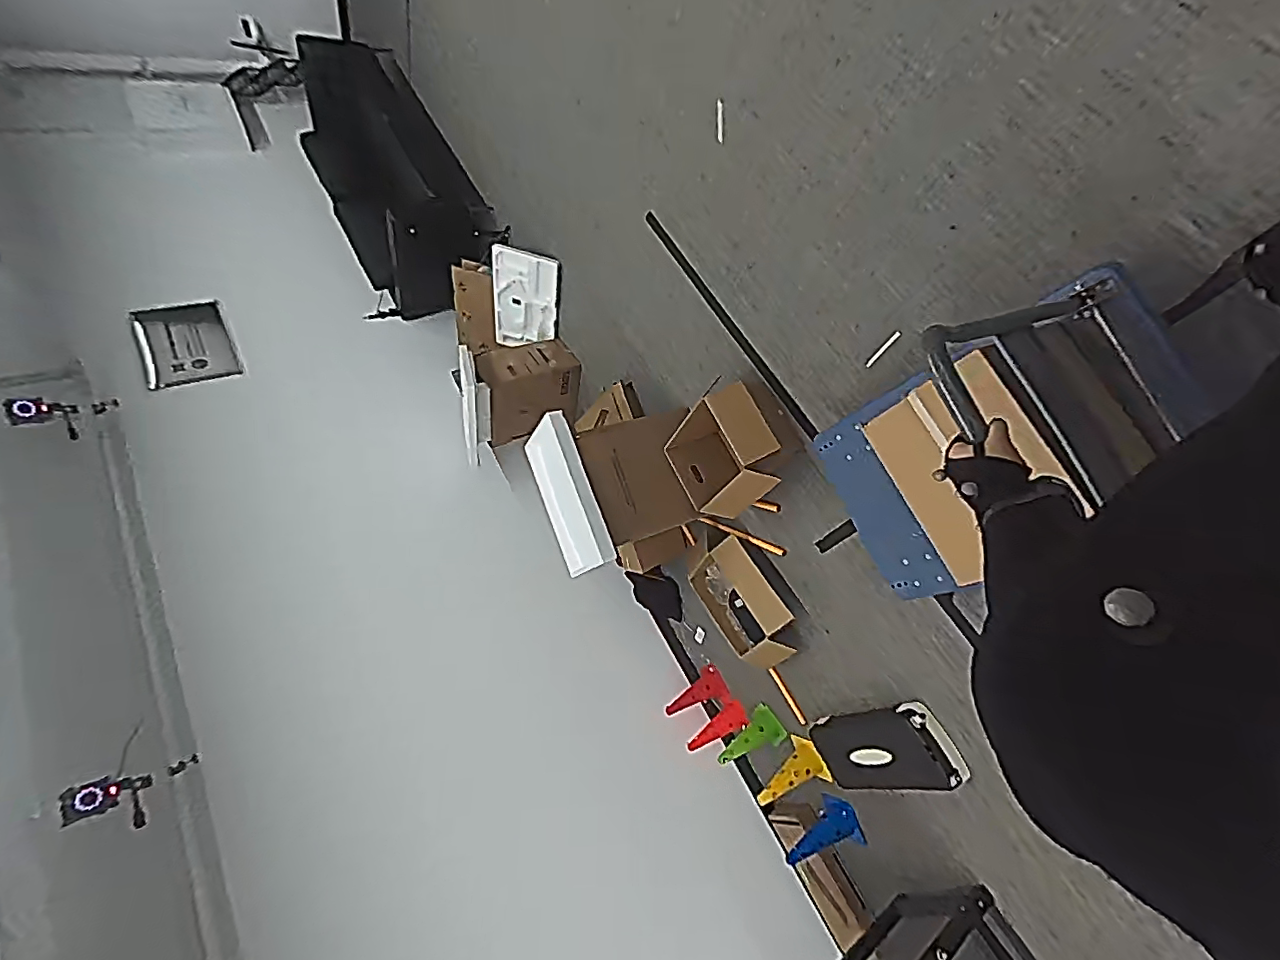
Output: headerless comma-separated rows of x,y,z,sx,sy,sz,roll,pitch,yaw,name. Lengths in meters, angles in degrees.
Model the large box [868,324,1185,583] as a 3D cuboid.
0.782,-0.054,1.131,0.408,0.320,0.320,64,151,13,large box
